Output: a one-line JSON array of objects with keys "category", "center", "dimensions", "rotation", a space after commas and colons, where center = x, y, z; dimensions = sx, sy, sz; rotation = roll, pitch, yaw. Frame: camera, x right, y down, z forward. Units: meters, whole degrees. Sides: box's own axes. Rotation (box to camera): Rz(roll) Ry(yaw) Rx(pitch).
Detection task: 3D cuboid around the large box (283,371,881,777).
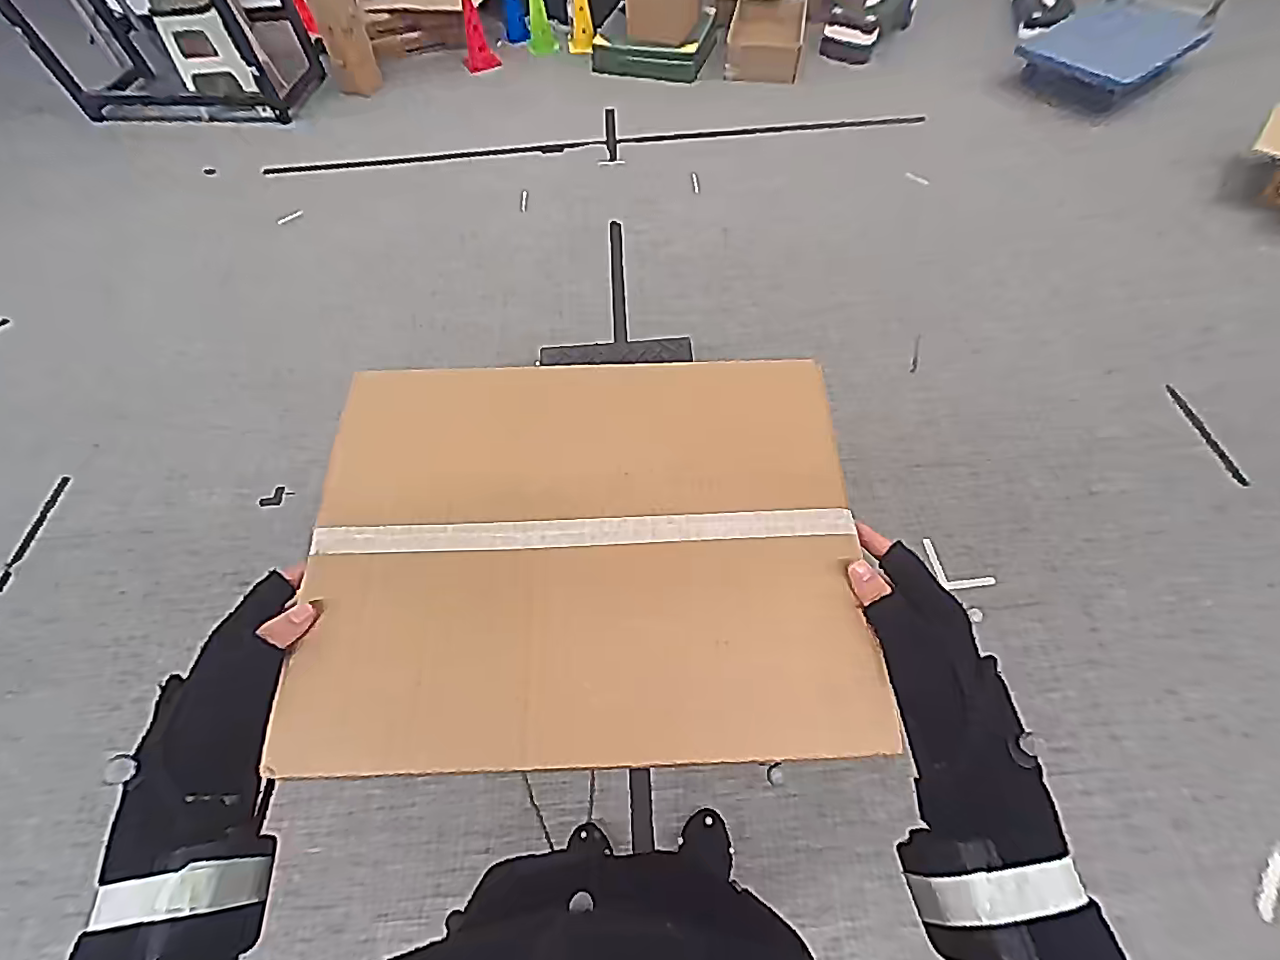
[{"category": "large box", "center": [-0.041, 0.109, 0.552], "dimensions": [0.408, 0.320, 0.320], "rotation": [-1, 64, -2]}]
